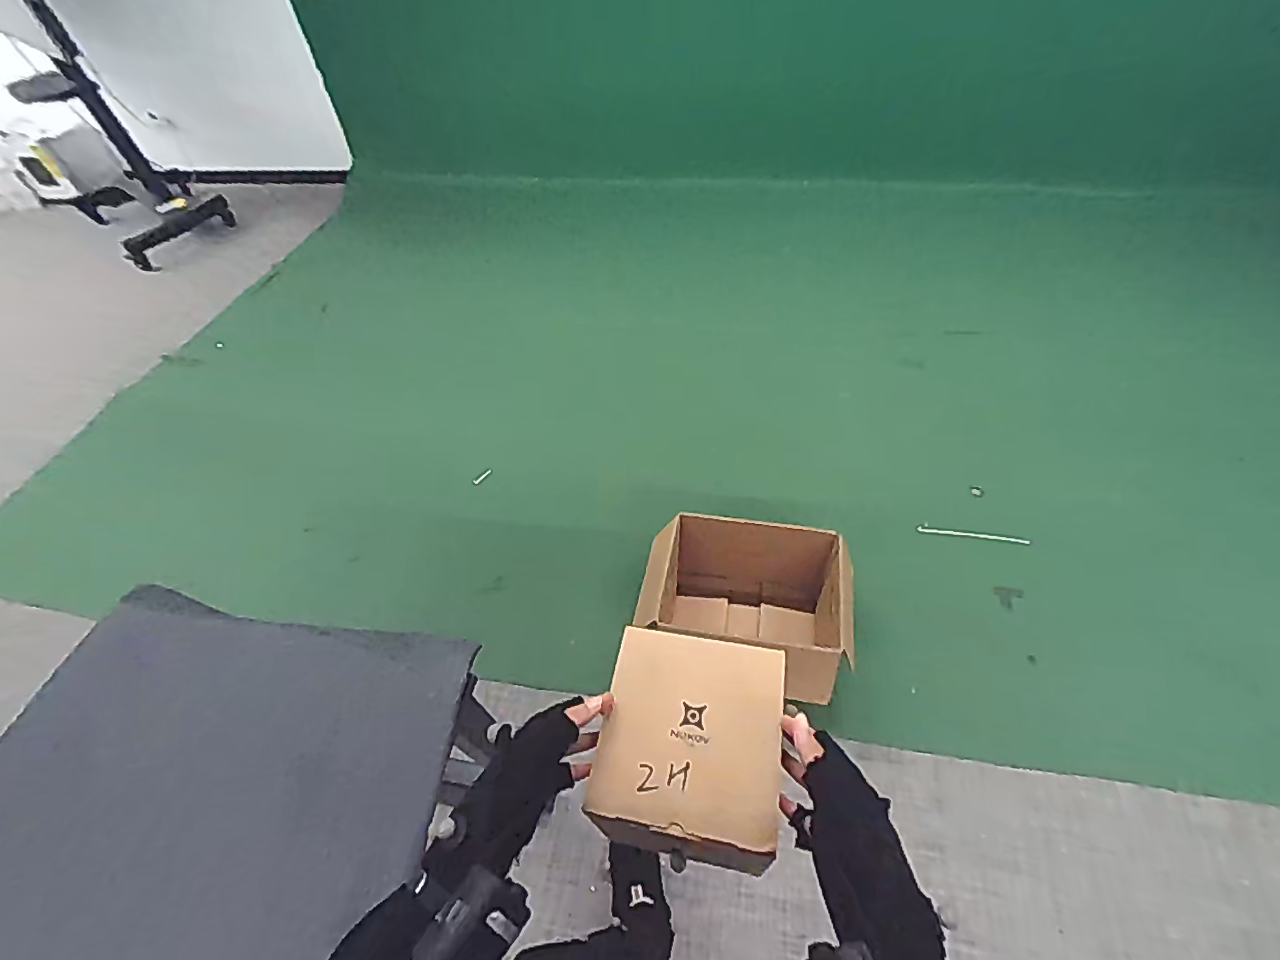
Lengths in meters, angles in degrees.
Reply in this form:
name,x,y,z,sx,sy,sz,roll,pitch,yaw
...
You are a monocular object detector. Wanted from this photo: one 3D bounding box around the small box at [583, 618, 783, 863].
name,x,y,z,sx,sy,sz,roll,pitch,yaw
small box,0.053,0.272,0.565,0.168,0.176,0.179,6,51,12
